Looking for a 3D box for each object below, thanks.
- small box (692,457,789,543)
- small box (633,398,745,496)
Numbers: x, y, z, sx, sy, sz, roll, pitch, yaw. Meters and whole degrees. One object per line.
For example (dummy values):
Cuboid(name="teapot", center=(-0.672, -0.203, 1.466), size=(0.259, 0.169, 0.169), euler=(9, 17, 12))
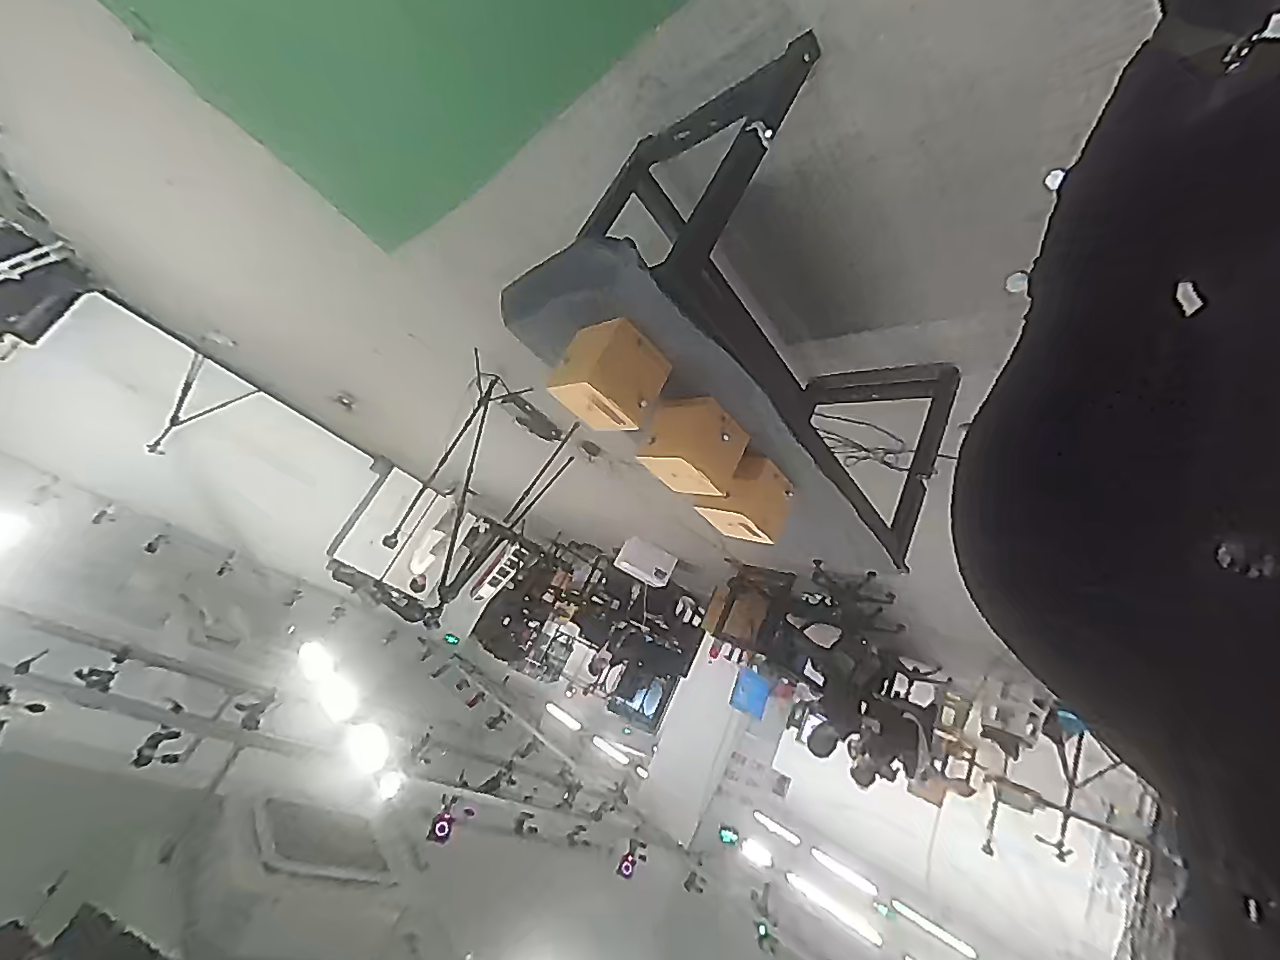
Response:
Cuboid(name="small box", center=(0.277, 0.046, 1.439), size=(0.179, 0.176, 0.168), euler=(6, 152, 49))
Cuboid(name="small box", center=(0.122, -0.081, 1.301), size=(0.168, 0.176, 0.179), euler=(39, 158, -34))
